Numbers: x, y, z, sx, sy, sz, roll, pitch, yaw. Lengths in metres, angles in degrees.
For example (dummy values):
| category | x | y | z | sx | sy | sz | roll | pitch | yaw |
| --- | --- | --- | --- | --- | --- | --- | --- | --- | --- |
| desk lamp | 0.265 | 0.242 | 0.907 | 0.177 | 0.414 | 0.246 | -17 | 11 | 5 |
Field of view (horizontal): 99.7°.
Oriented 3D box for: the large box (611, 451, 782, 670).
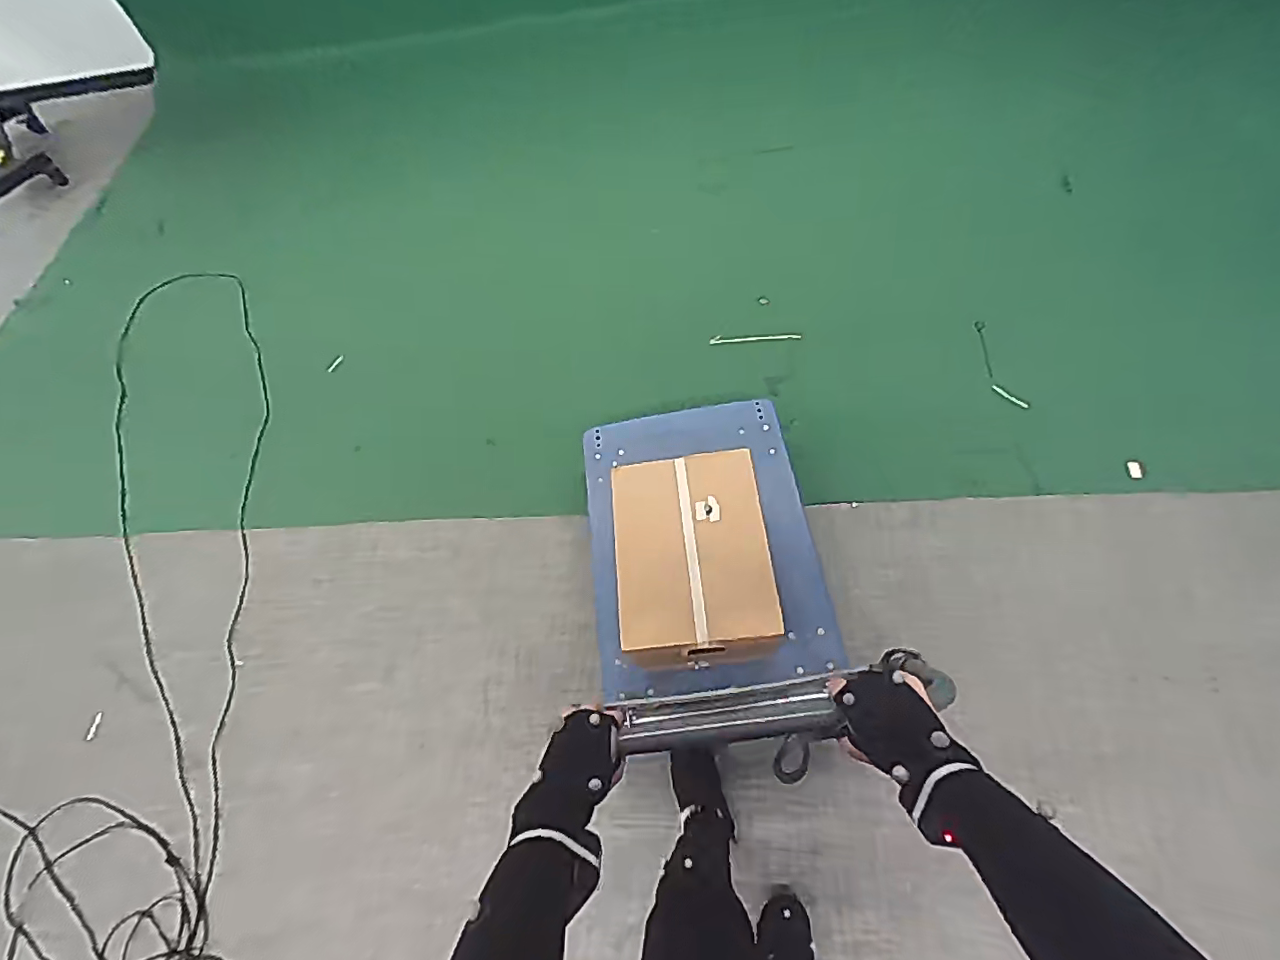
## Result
| category | x | y | z | sx | sy | sz | roll | pitch | yaw |
| --- | --- | --- | --- | --- | --- | --- | --- | --- | --- |
| large box | 0.125 | 0.197 | 1.248 | 0.320 | 0.320 | 0.408 | -7 | 62 | 5 |
